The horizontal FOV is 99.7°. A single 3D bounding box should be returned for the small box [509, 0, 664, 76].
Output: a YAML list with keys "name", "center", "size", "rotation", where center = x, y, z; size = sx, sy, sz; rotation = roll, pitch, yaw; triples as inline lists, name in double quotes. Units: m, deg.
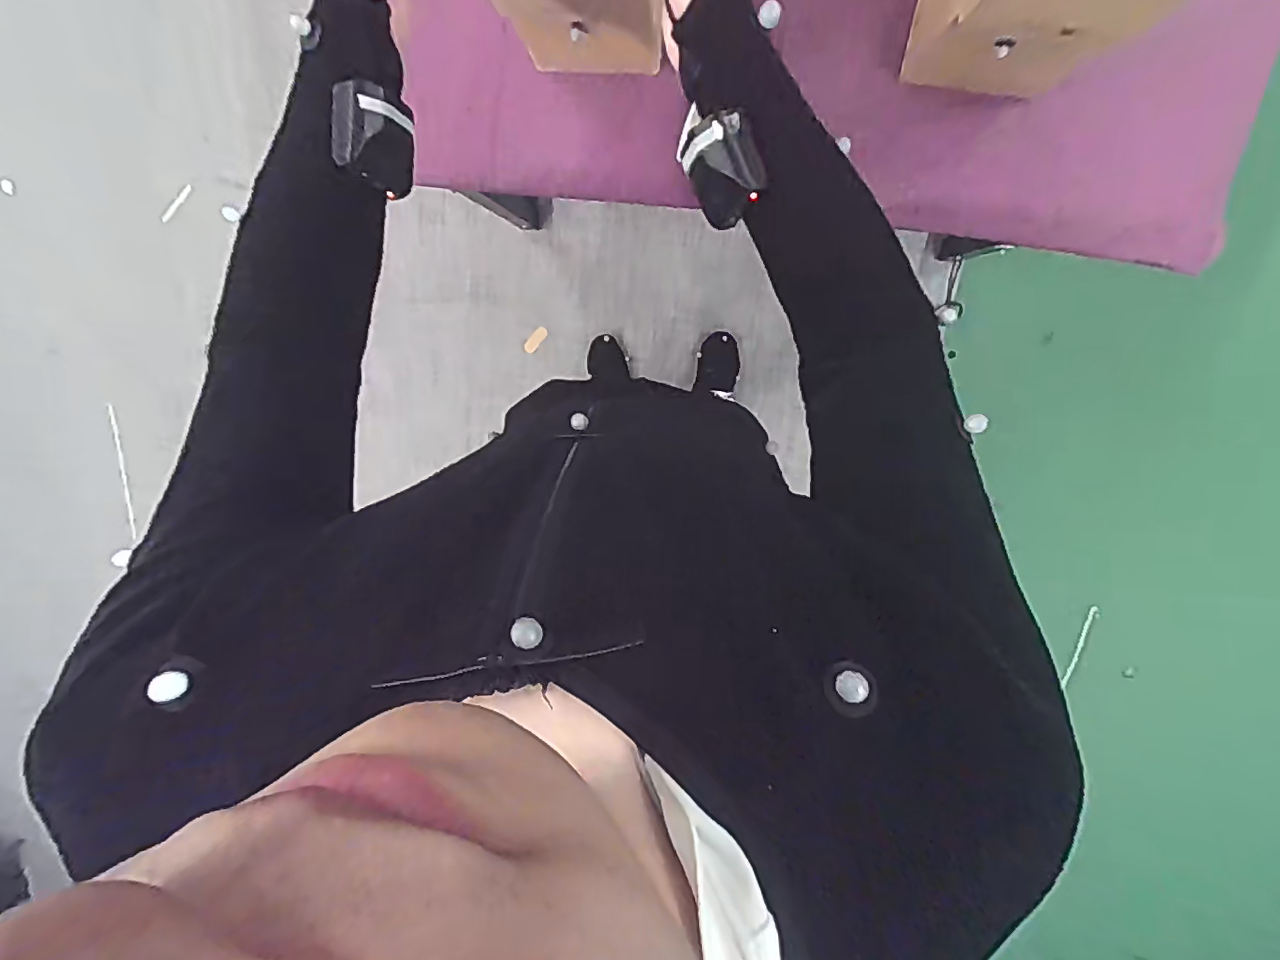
- name: "small box"
  center: [-0.057, -0.624, 0.660]
  size: [0.179, 0.176, 0.168]
  rotation: [4, 106, 4]

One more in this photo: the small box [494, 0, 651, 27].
- name: "small box"
  center: [-0.069, -0.564, 0.506]
  size: [0.179, 0.176, 0.168]
  rotation: [6, 106, 3]

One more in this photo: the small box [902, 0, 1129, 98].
- name: "small box"
  center: [0.438, -0.578, 0.632]
  size: [0.179, 0.176, 0.168]
  rotation: [9, 106, 2]
